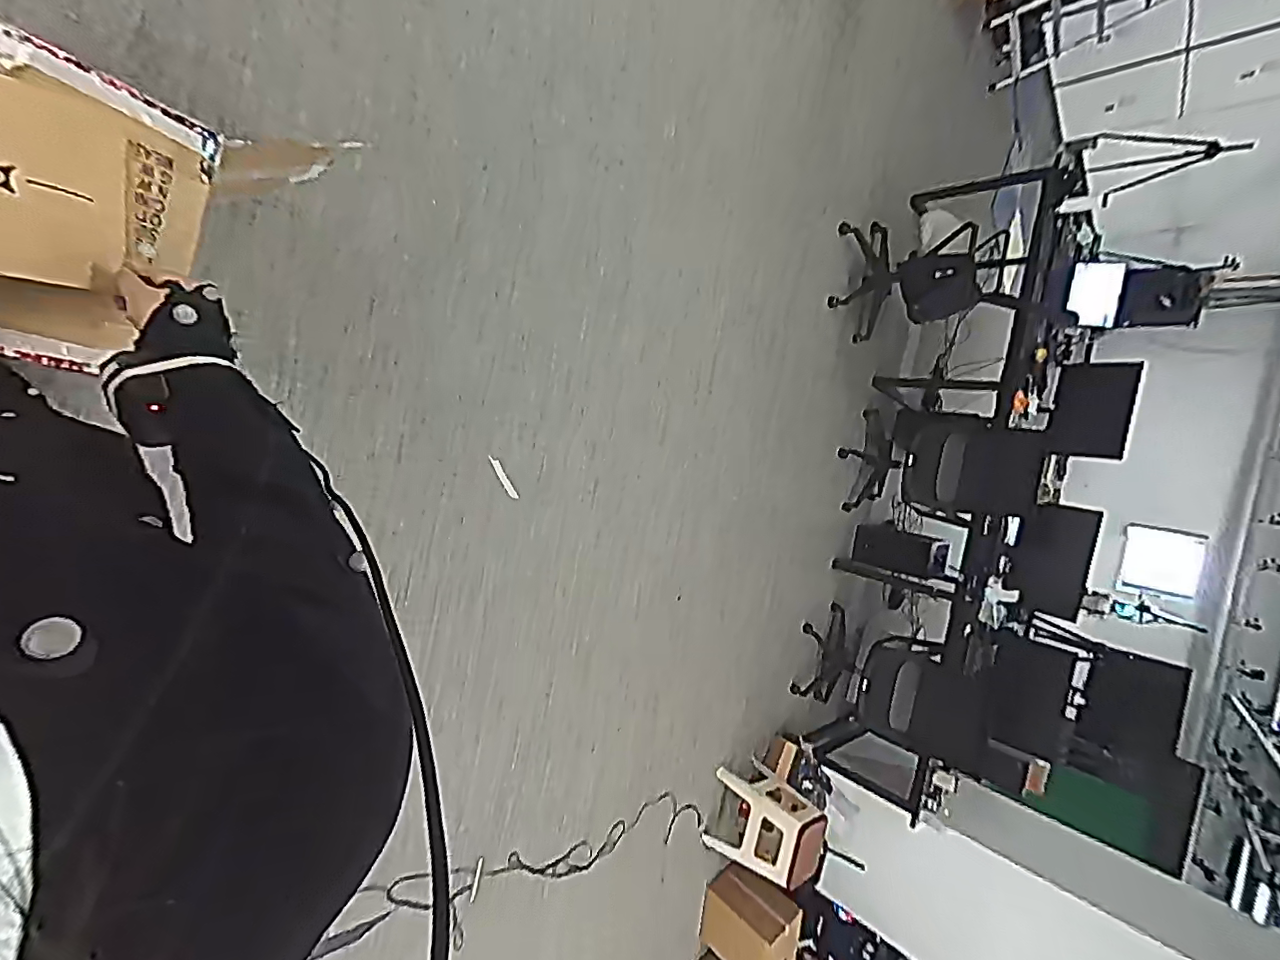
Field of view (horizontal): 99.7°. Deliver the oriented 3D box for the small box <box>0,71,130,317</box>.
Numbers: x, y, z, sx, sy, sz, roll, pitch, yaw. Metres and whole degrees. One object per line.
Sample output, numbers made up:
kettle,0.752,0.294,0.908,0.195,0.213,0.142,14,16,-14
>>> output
small box,-0.592,-0.257,0.496,0.179,0.176,0.168,-1,94,-42
